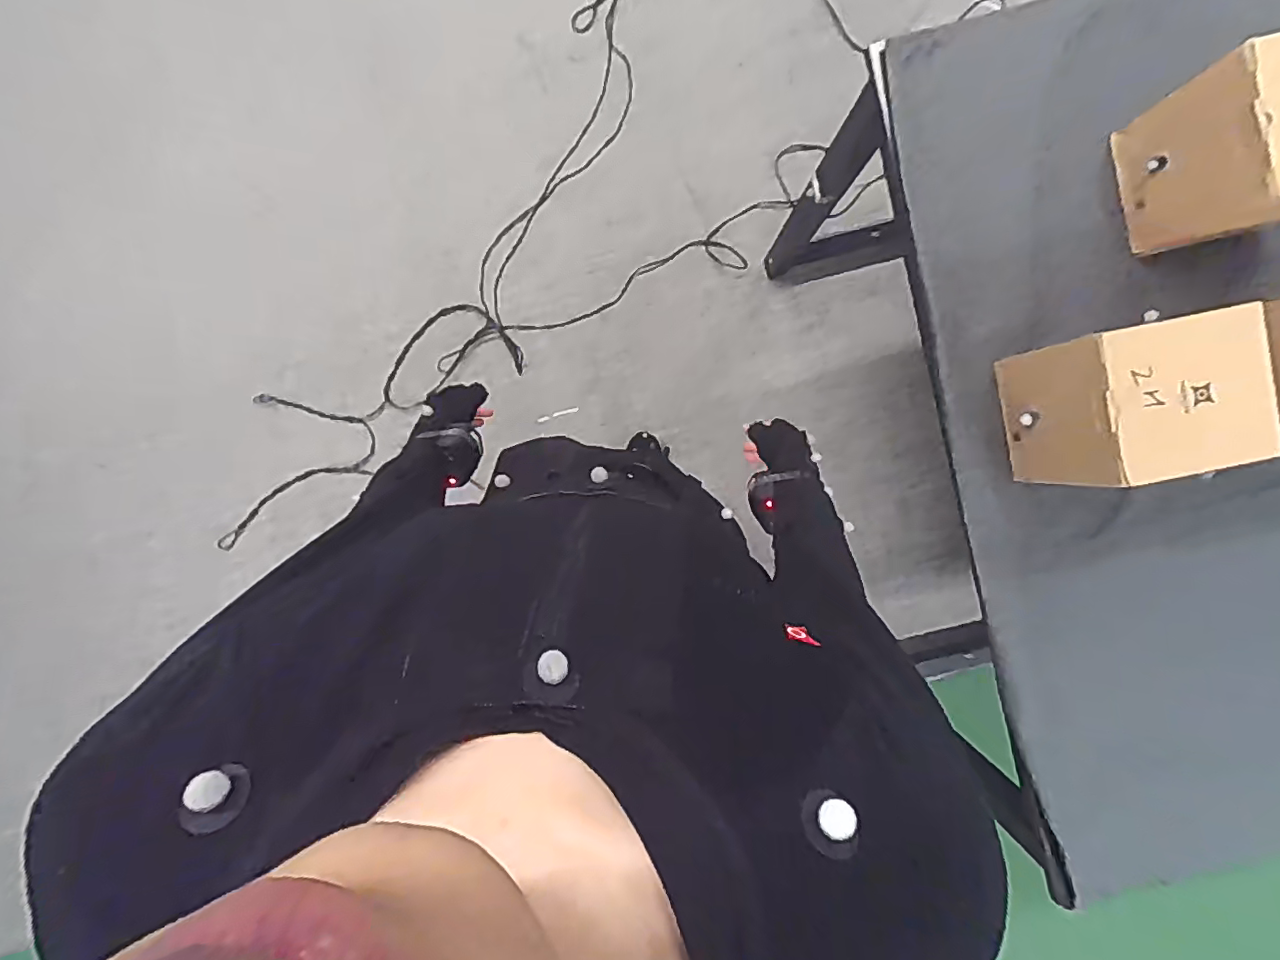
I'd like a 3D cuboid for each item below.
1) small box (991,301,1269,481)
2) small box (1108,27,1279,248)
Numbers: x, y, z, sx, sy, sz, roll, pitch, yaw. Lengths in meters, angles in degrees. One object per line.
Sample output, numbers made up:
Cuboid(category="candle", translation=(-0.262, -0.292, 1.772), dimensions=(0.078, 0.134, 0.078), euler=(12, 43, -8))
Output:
Cuboid(category="small box", translation=(0.571, -0.099, 0.652), dimensions=(0.179, 0.176, 0.168), euler=(-12, 93, 0))
Cuboid(category="small box", translation=(0.715, -0.398, 0.637), dimensions=(0.179, 0.176, 0.168), euler=(-13, 93, 1))
